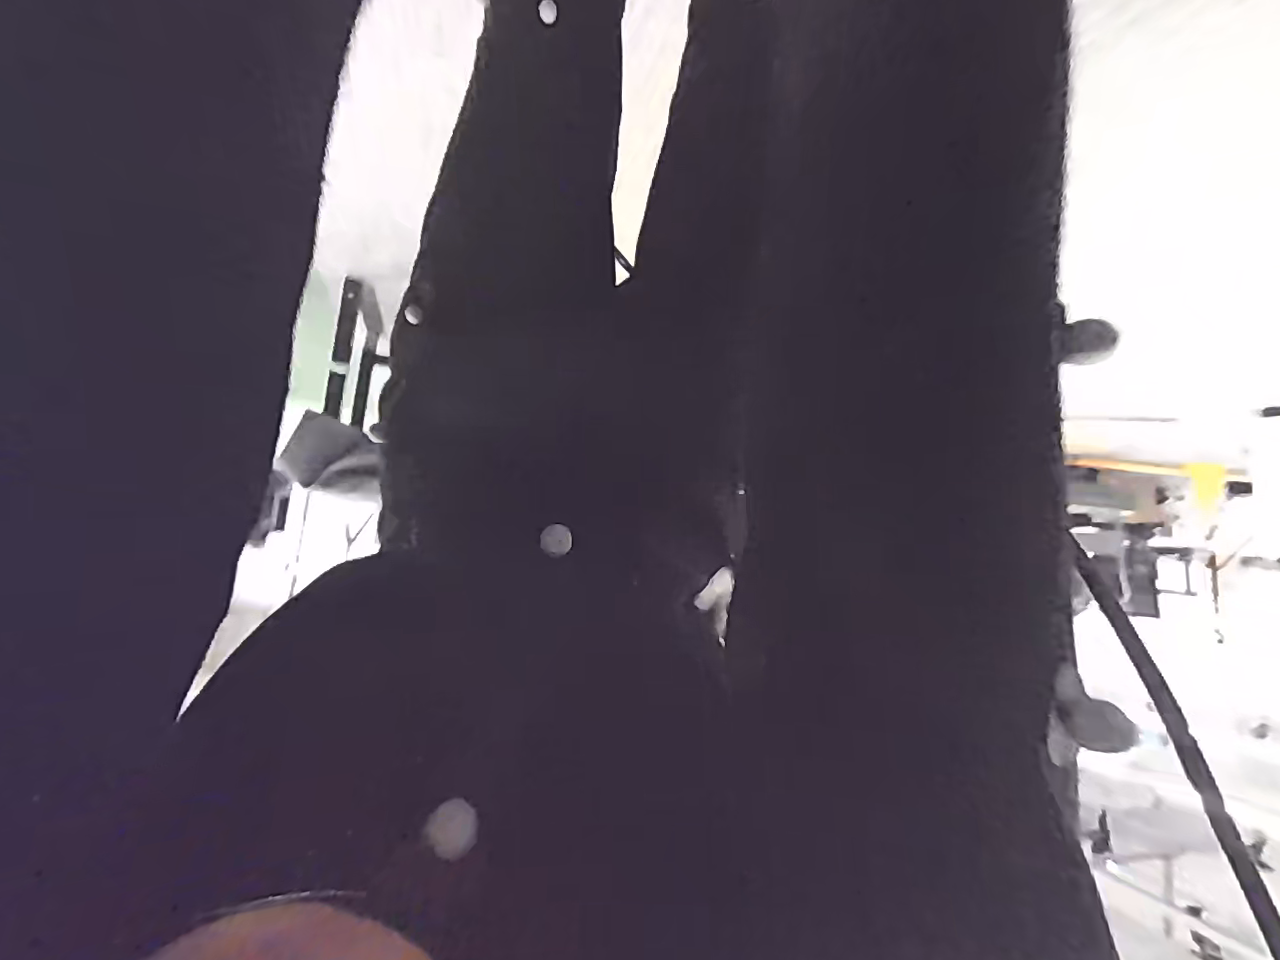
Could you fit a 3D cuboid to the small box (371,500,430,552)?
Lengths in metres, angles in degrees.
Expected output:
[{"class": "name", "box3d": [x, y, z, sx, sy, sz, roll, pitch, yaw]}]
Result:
[{"class": "small box", "box3d": [-0.860, 0.165, 1.950, 0.179, 0.176, 0.168, 9, 172, -22]}]

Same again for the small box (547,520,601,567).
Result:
[{"class": "small box", "box3d": [-0.266, 0.253, 2.180, 0.179, 0.176, 0.168, 9, 170, -19]}]
